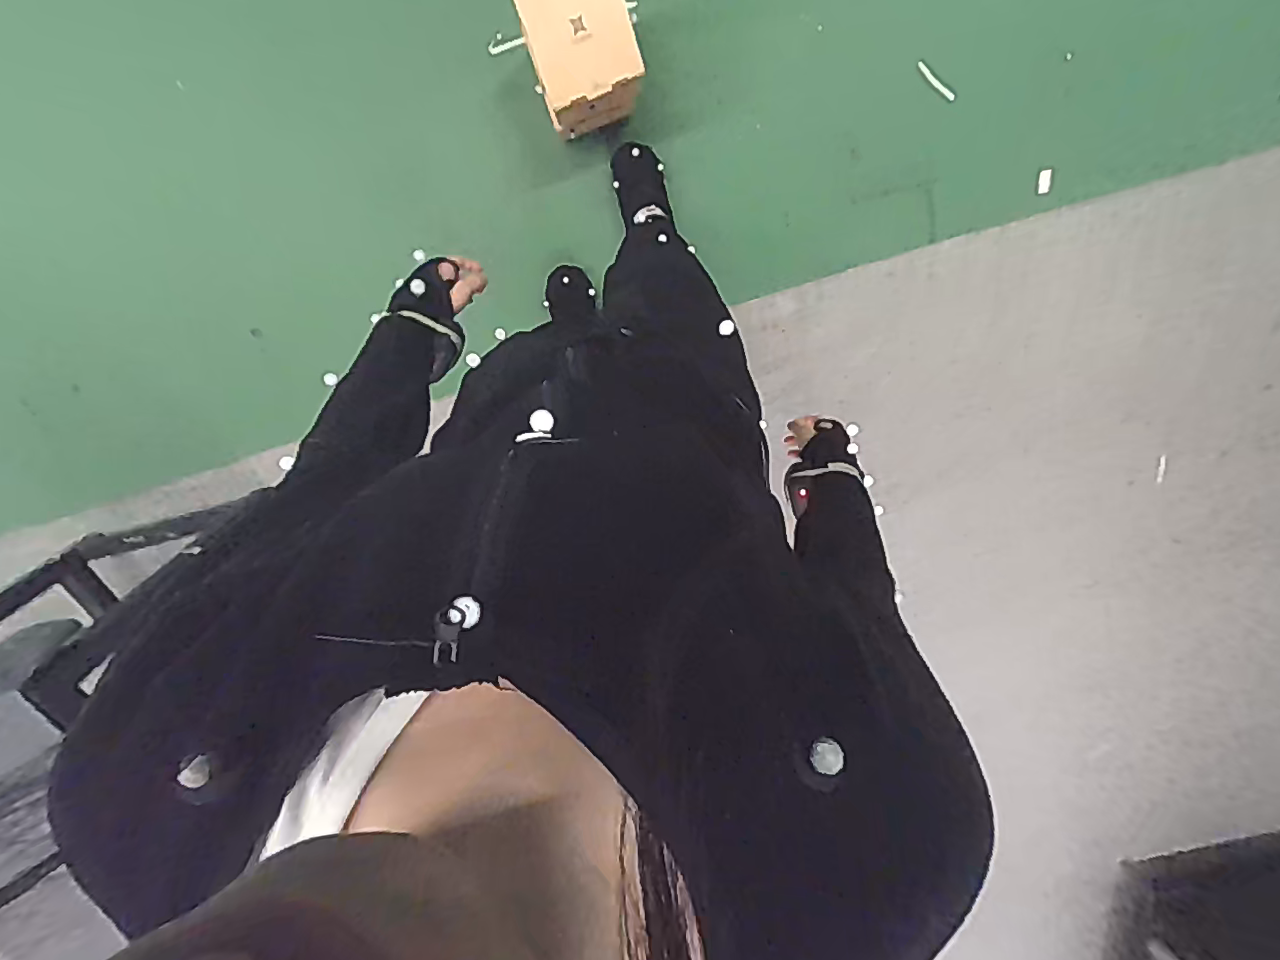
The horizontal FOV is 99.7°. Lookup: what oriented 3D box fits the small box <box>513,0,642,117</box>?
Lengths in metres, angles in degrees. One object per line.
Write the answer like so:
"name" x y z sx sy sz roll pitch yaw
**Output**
"small box" -0.108 -0.753 0.917 0.168 0.176 0.179 -19 117 4
